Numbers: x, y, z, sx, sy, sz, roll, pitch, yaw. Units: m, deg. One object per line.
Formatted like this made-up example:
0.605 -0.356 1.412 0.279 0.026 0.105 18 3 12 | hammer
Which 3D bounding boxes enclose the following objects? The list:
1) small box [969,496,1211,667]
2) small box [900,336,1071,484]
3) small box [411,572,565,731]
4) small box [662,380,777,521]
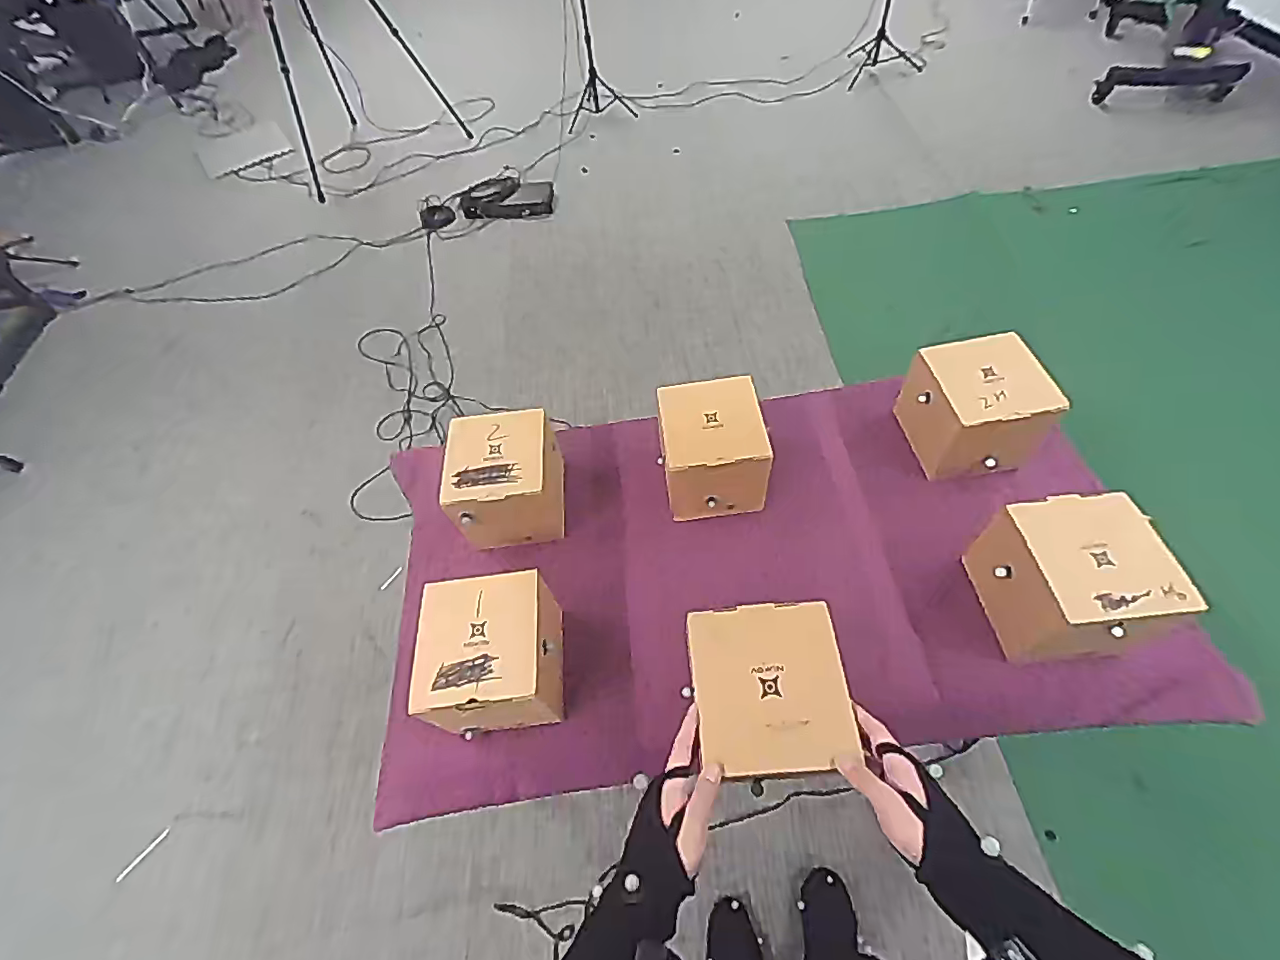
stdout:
0.605 0.146 0.762 0.168 0.176 0.179 -7 53 3 | small box
0.580 -0.118 0.941 0.168 0.176 0.179 -10 56 3 | small box
-0.205 0.254 0.781 0.168 0.176 0.179 -7 55 1 | small box
0.130 -0.049 0.951 0.168 0.176 0.179 -8 57 1 | small box
